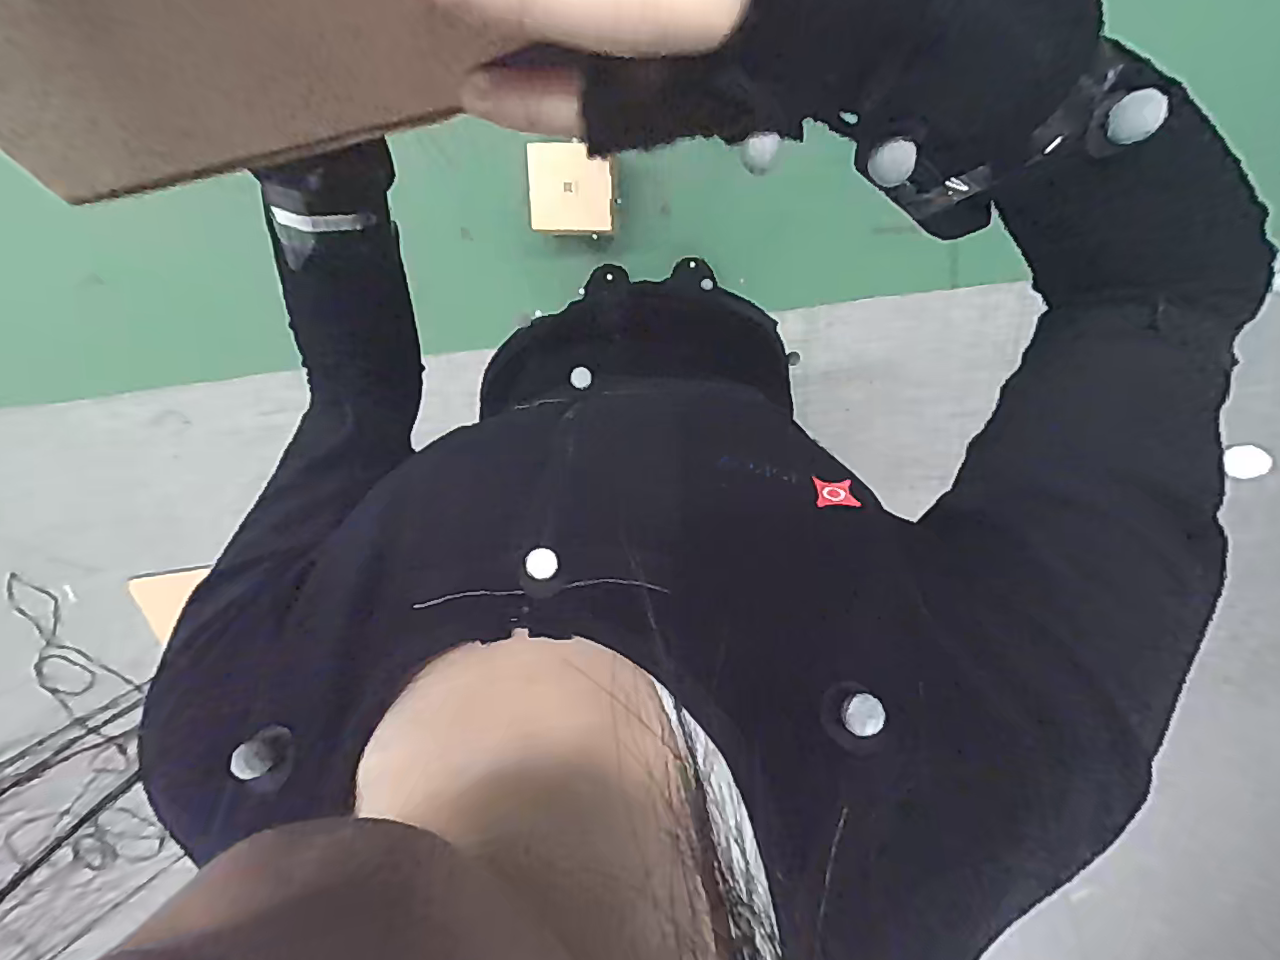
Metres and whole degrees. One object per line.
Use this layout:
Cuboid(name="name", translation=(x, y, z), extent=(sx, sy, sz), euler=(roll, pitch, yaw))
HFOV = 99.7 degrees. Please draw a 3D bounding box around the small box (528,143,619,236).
Cuboid(name="small box", translation=(-0.141, -0.643, 1.211), extent=(0.179, 0.176, 0.168), euler=(1, 111, 2))
